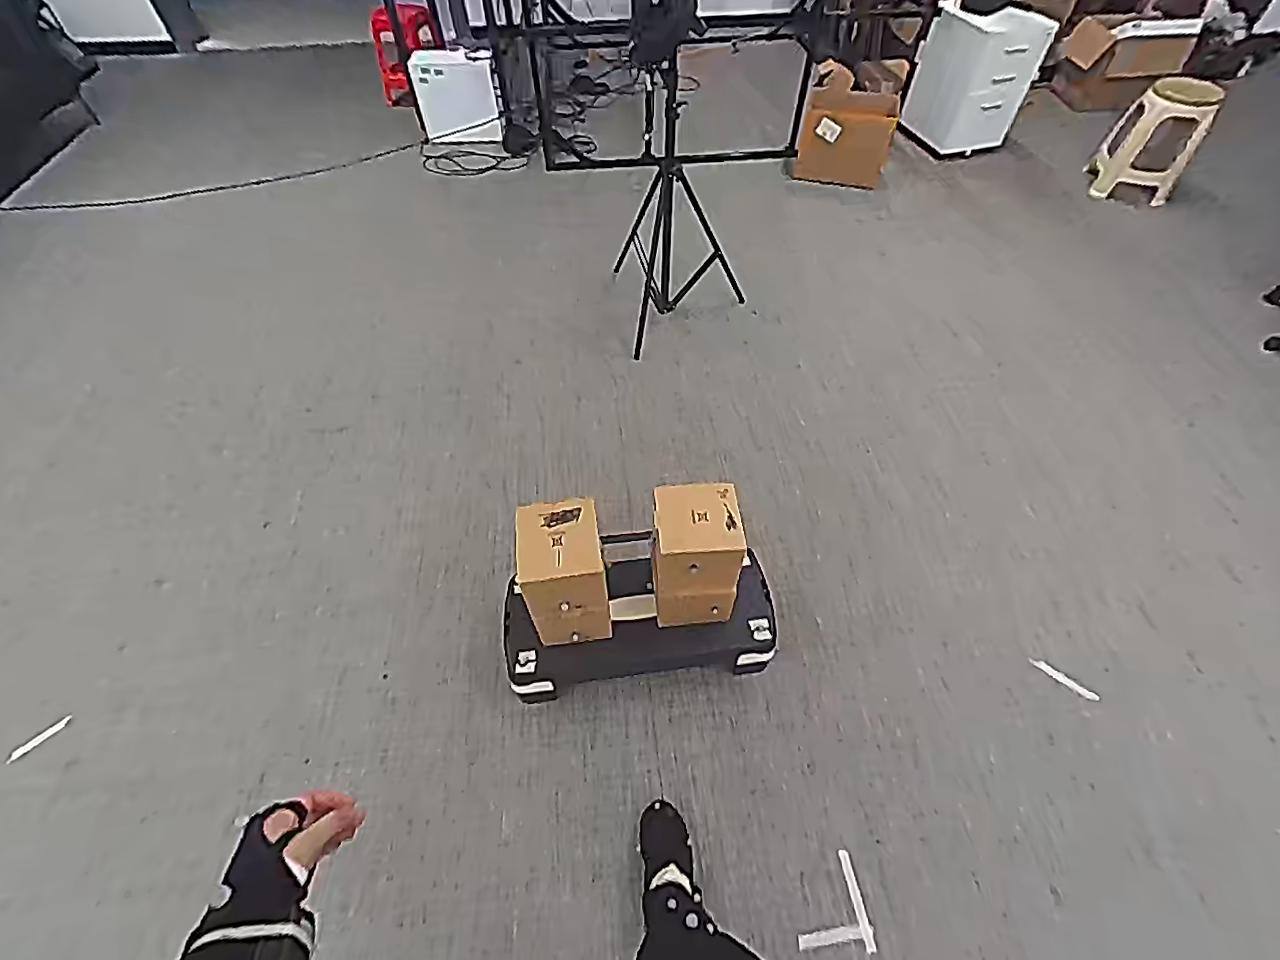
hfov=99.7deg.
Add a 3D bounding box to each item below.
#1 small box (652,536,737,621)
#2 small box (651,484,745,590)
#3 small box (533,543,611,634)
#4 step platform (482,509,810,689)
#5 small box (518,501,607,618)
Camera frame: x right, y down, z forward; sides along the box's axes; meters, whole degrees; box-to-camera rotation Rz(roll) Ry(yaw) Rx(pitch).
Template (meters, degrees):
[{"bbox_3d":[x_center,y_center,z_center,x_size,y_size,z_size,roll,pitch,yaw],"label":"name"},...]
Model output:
[{"bbox_3d":[0.121,0.237,1.290,0.179,0.176,0.168,-5,54,-2],"label":"small box"},{"bbox_3d":[0.120,0.128,1.169,0.179,0.176,0.168,-5,54,-1],"label":"small box"},{"bbox_3d":[-0.158,0.269,1.268,0.168,0.176,0.179,-7,54,-4],"label":"small box"},{"bbox_3d":[0.011,0.269,1.223,0.684,0.204,0.286,-6,53,-5],"label":"step platform"},{"bbox_3d":[-0.162,0.168,1.139,0.168,0.176,0.179,-8,54,-5],"label":"small box"}]
